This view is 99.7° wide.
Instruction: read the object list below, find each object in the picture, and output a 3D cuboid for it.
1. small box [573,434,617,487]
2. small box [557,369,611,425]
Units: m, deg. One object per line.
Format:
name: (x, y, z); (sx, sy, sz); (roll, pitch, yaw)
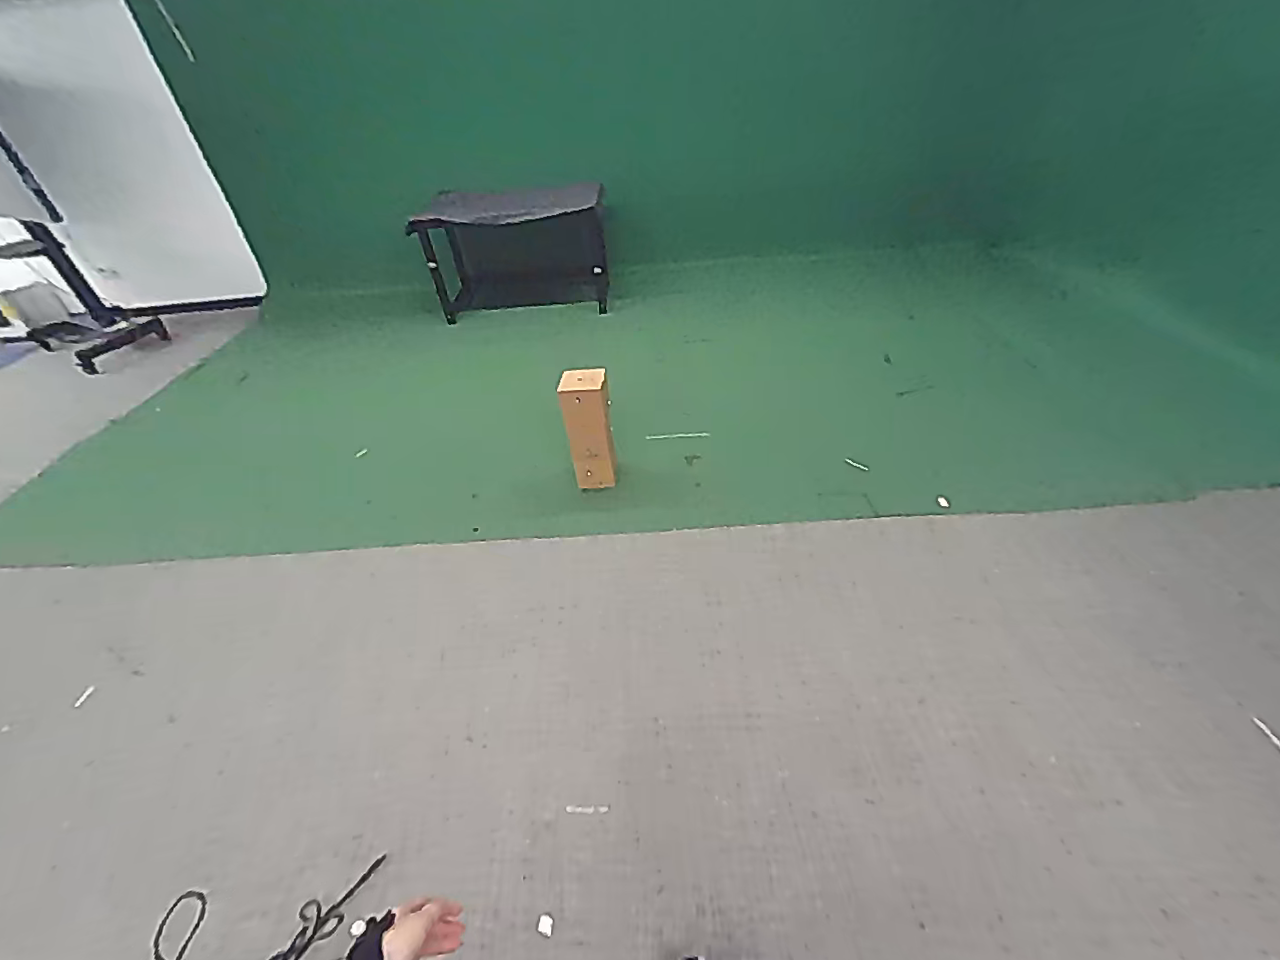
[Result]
small box: (-0.193, -0.080, 2.387); (0.168, 0.176, 0.179); (-3, 38, 4)
small box: (-0.220, -0.331, 2.176); (0.179, 0.176, 0.168); (-1, 40, 7)
